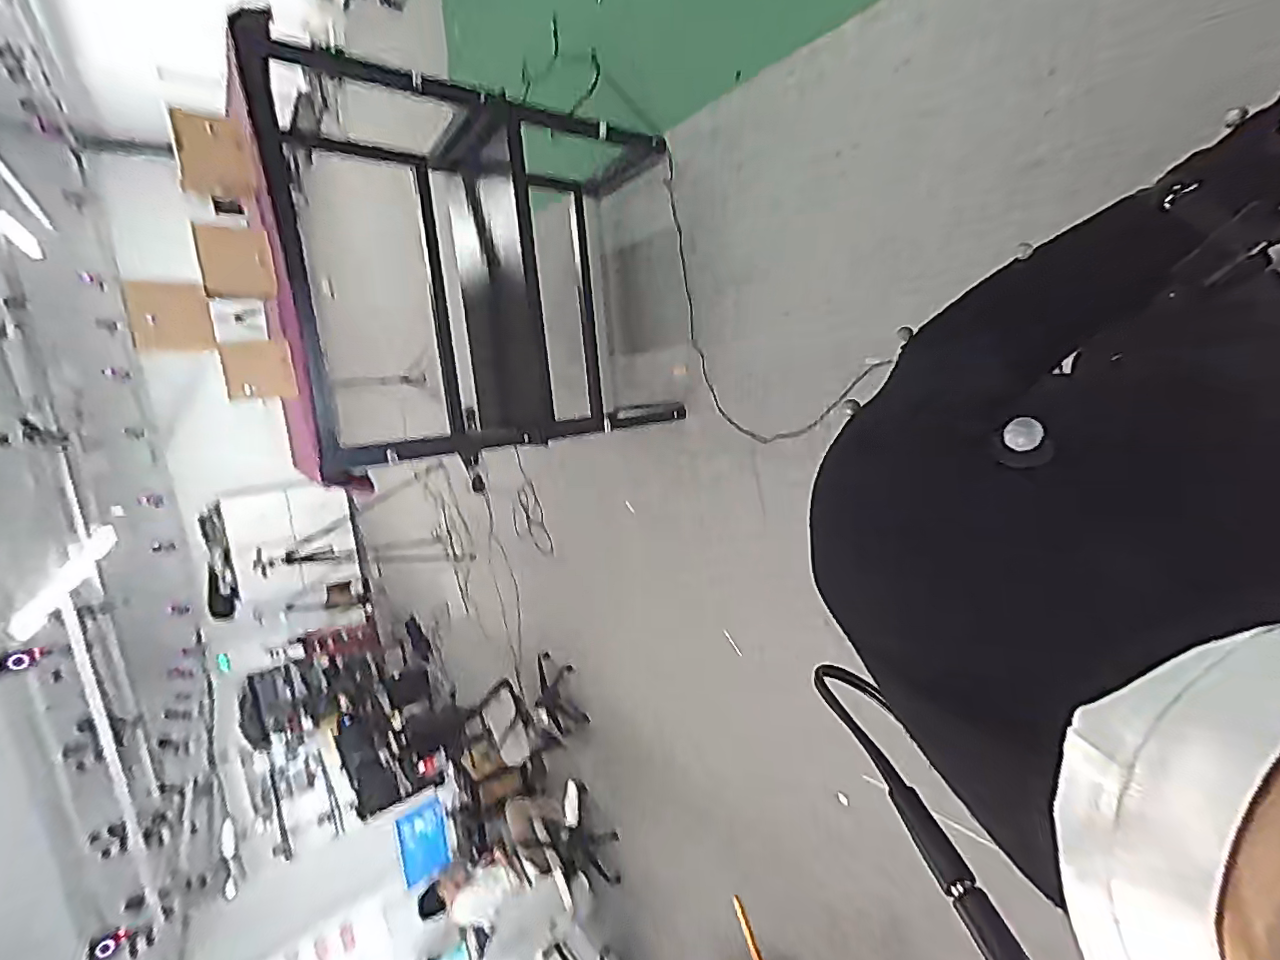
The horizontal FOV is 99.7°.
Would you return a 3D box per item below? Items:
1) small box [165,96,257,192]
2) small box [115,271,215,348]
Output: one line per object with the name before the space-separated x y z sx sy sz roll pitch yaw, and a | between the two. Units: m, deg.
small box | -1.148 -0.894 1.455 0.179 0.176 0.168 15 111 50
small box | -1.246 -0.448 1.434 0.168 0.176 0.179 11 108 52
